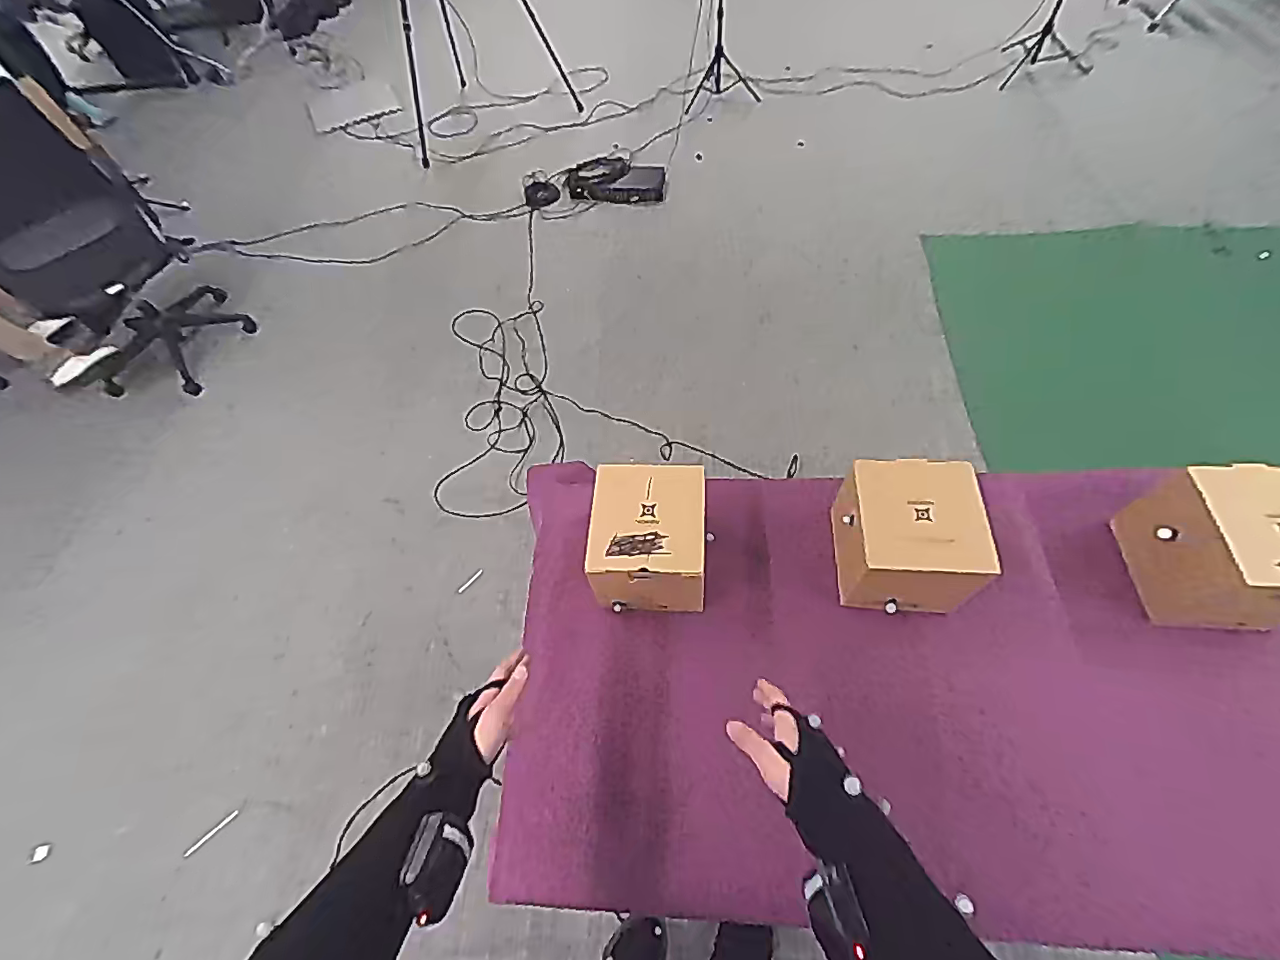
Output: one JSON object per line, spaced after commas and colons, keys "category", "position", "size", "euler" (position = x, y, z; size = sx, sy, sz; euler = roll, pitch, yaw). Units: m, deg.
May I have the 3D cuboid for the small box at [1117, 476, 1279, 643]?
{"category": "small box", "position": [0.829, 0.113, 0.753], "size": [0.168, 0.176, 0.179], "euler": [0, 57, 7]}

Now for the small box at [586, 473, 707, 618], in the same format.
{"category": "small box", "position": [0.020, 0.106, 0.841], "size": [0.168, 0.176, 0.179], "euler": [1, 58, 6]}

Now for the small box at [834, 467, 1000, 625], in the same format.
{"category": "small box", "position": [0.396, 0.100, 0.810], "size": [0.168, 0.176, 0.179], "euler": [2, 59, 8]}
